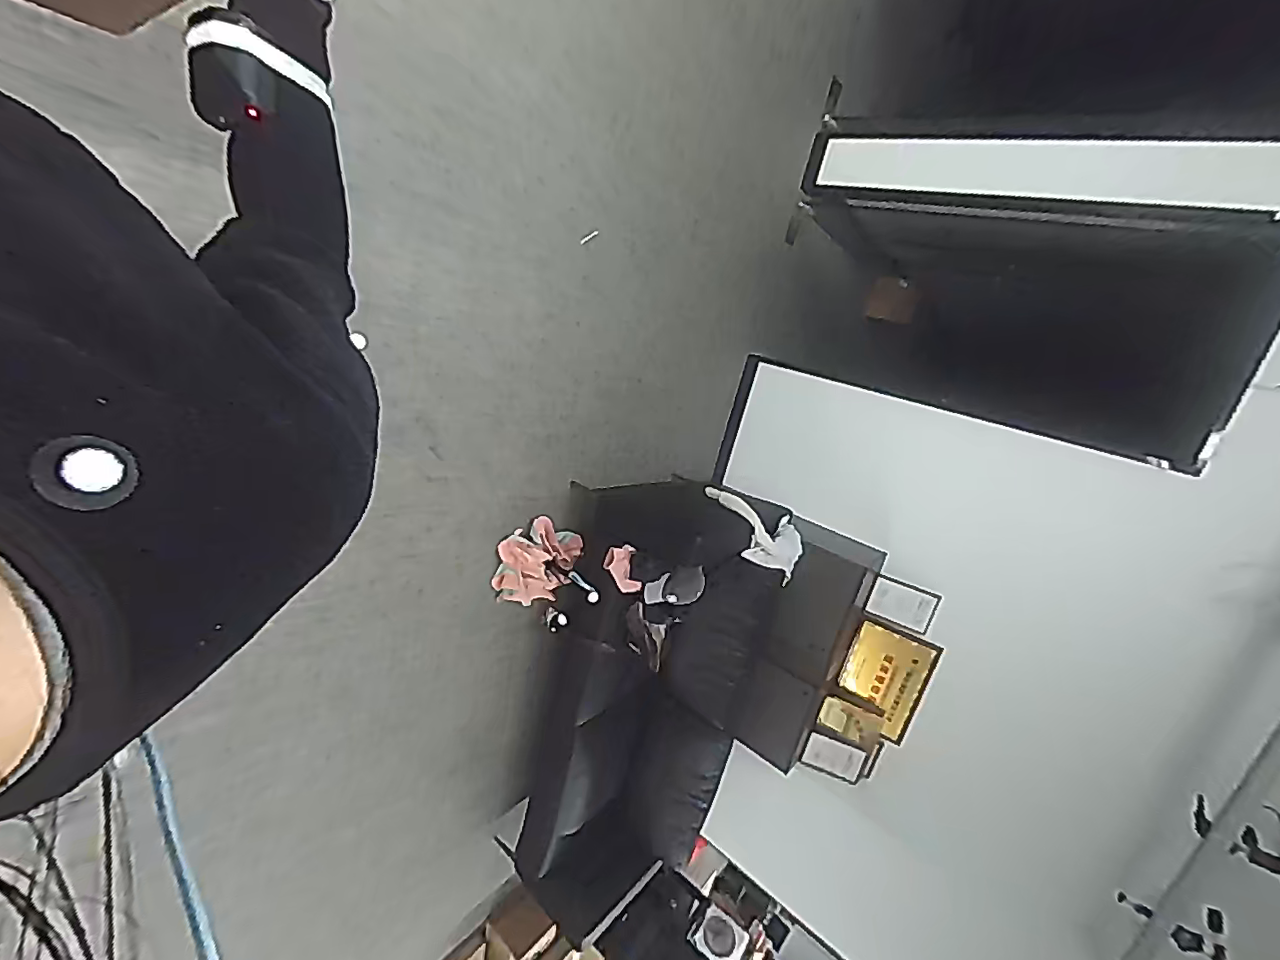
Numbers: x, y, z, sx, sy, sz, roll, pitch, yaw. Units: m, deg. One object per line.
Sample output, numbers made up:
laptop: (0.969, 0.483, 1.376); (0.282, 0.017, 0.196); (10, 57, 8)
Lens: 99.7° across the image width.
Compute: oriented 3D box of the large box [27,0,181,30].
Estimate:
large box: (-0.499, -0.515, 0.268); (0.408, 0.320, 0.320); (-13, 116, -51)
